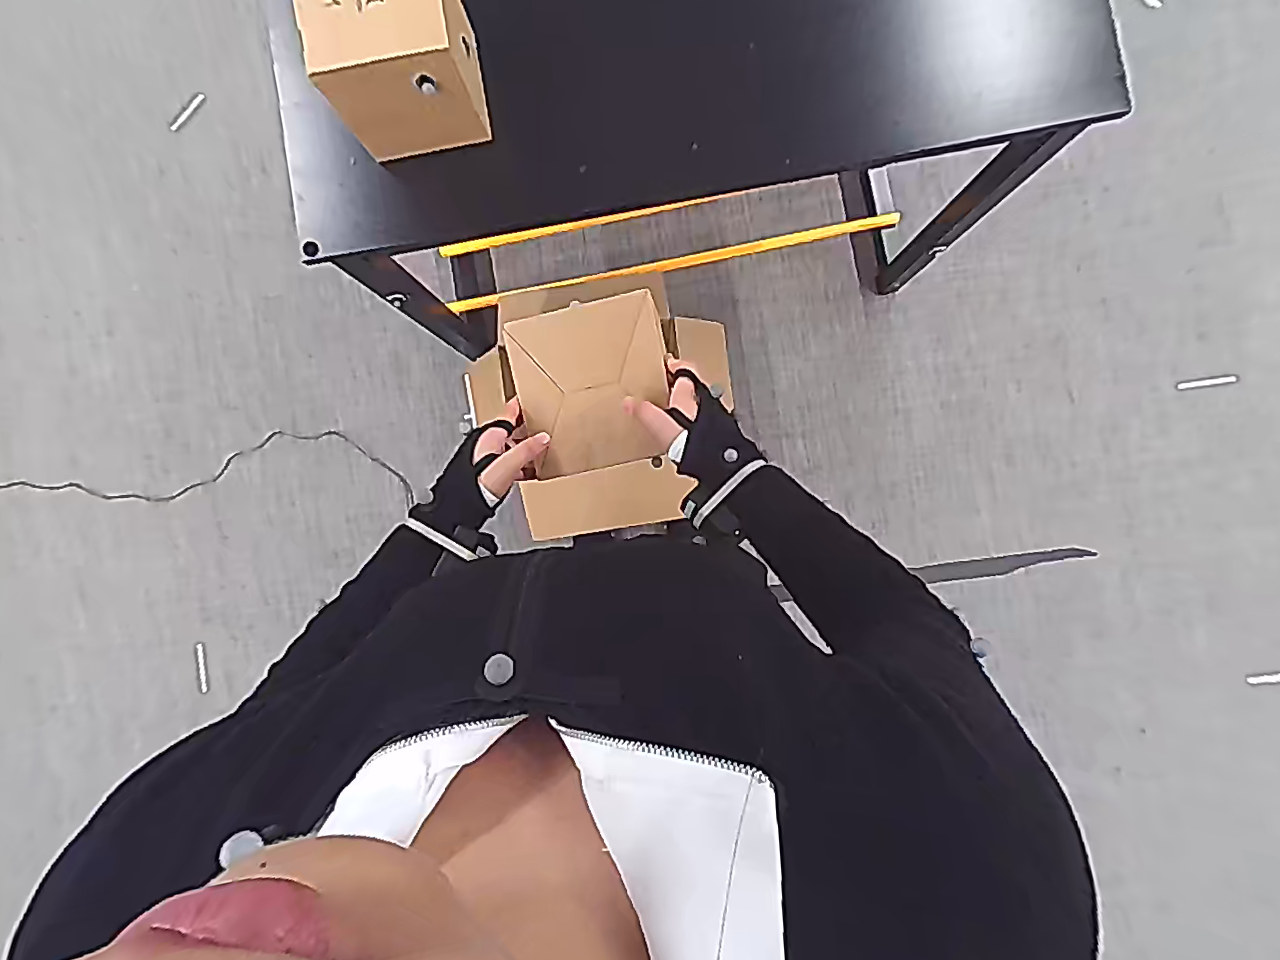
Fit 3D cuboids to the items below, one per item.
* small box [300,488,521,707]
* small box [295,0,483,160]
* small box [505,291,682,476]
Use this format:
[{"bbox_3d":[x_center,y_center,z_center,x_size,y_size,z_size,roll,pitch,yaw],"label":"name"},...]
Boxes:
[{"bbox_3d":[-0.211,0.119,0.539,0.168,0.176,0.179,-5,67,-10],"label":"small box"},{"bbox_3d":[-0.320,-0.565,0.719,0.179,0.176,0.168,-10,87,1],"label":"small box"},{"bbox_3d":[-0.048,-0.109,0.661,0.168,0.176,0.179,-12,96,6],"label":"small box"}]
